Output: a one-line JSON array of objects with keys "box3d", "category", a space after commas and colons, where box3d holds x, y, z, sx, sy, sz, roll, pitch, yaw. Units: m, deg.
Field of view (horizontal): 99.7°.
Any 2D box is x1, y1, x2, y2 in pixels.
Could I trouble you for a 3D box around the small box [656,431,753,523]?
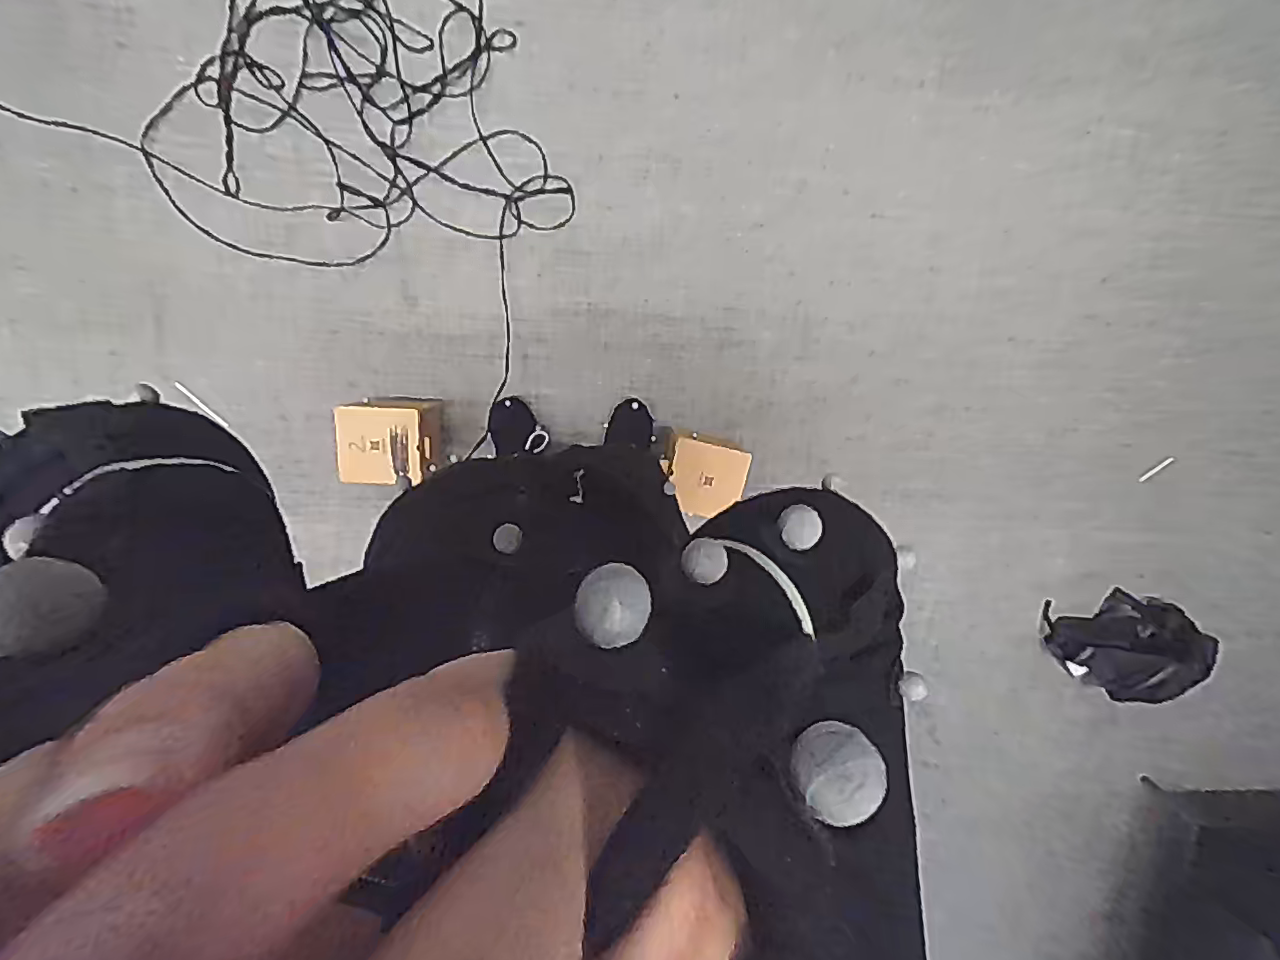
[{"box3d": [0.144, -0.014, 1.286, 0.179, 0.176, 0.168, 12, 102, -6], "category": "small box"}]
